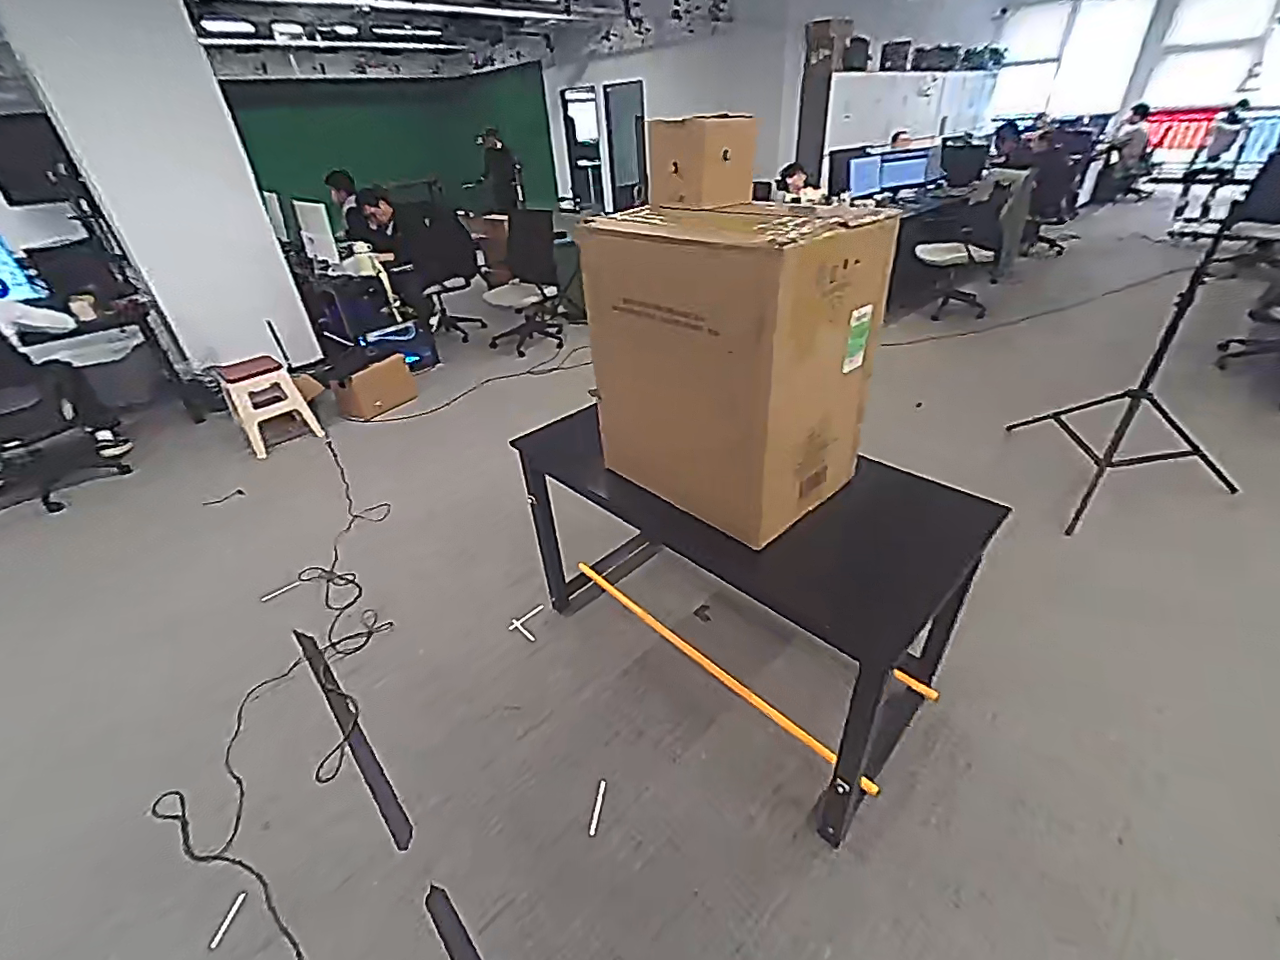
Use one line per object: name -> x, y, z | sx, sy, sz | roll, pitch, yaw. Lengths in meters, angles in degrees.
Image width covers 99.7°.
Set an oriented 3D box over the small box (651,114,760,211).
small box -> 0.143, -0.697, 1.190 | 0.179, 0.176, 0.168 | -29, 42, -34
